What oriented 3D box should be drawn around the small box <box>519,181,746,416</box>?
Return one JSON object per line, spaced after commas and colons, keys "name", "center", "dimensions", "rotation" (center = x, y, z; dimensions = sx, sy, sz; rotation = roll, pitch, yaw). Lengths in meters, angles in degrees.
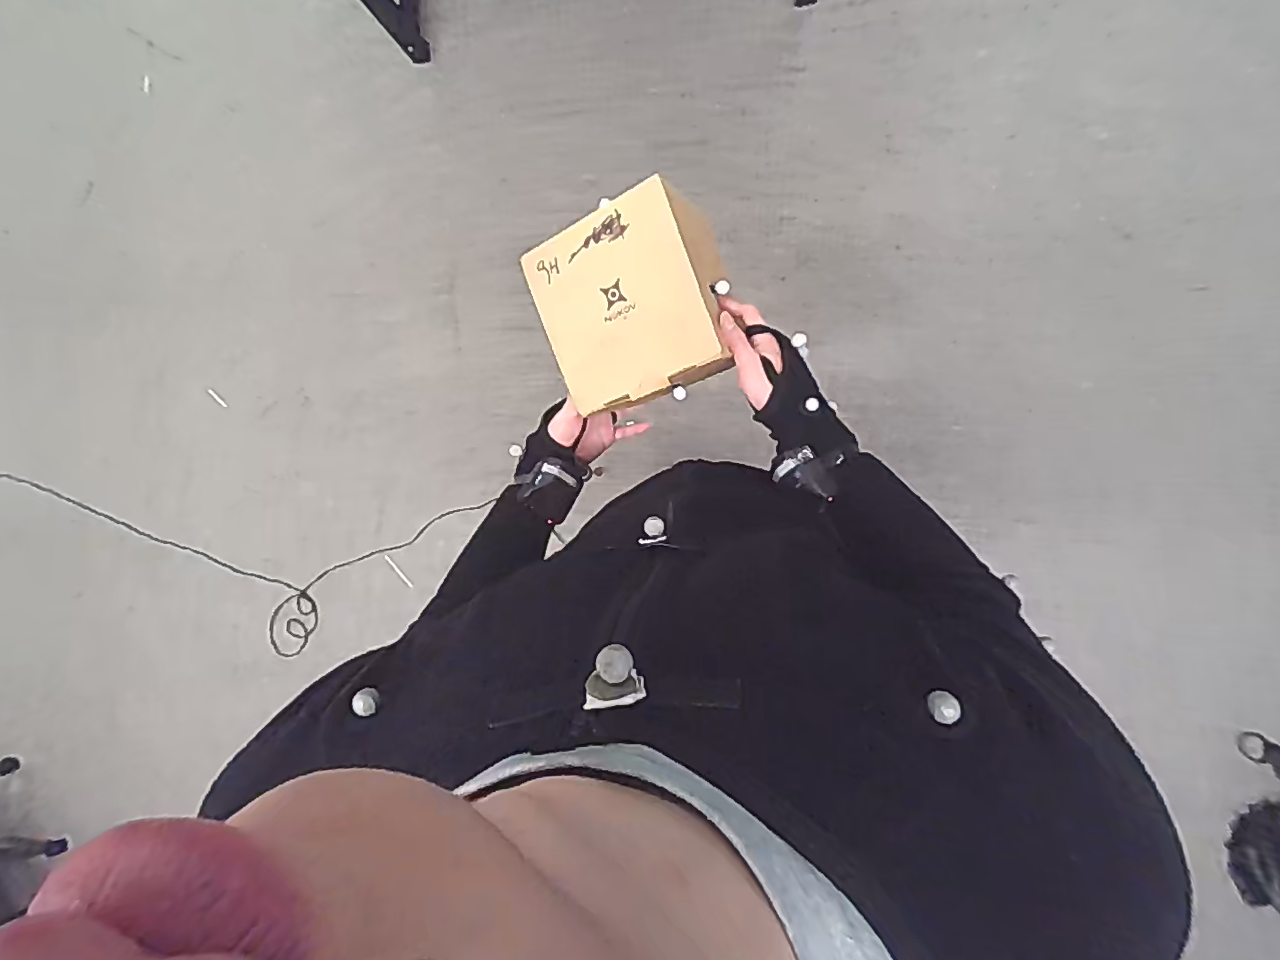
{"name": "small box", "center": [0.004, -0.186, 0.598], "dimensions": [0.168, 0.176, 0.179], "rotation": [-19, 94, 25]}
